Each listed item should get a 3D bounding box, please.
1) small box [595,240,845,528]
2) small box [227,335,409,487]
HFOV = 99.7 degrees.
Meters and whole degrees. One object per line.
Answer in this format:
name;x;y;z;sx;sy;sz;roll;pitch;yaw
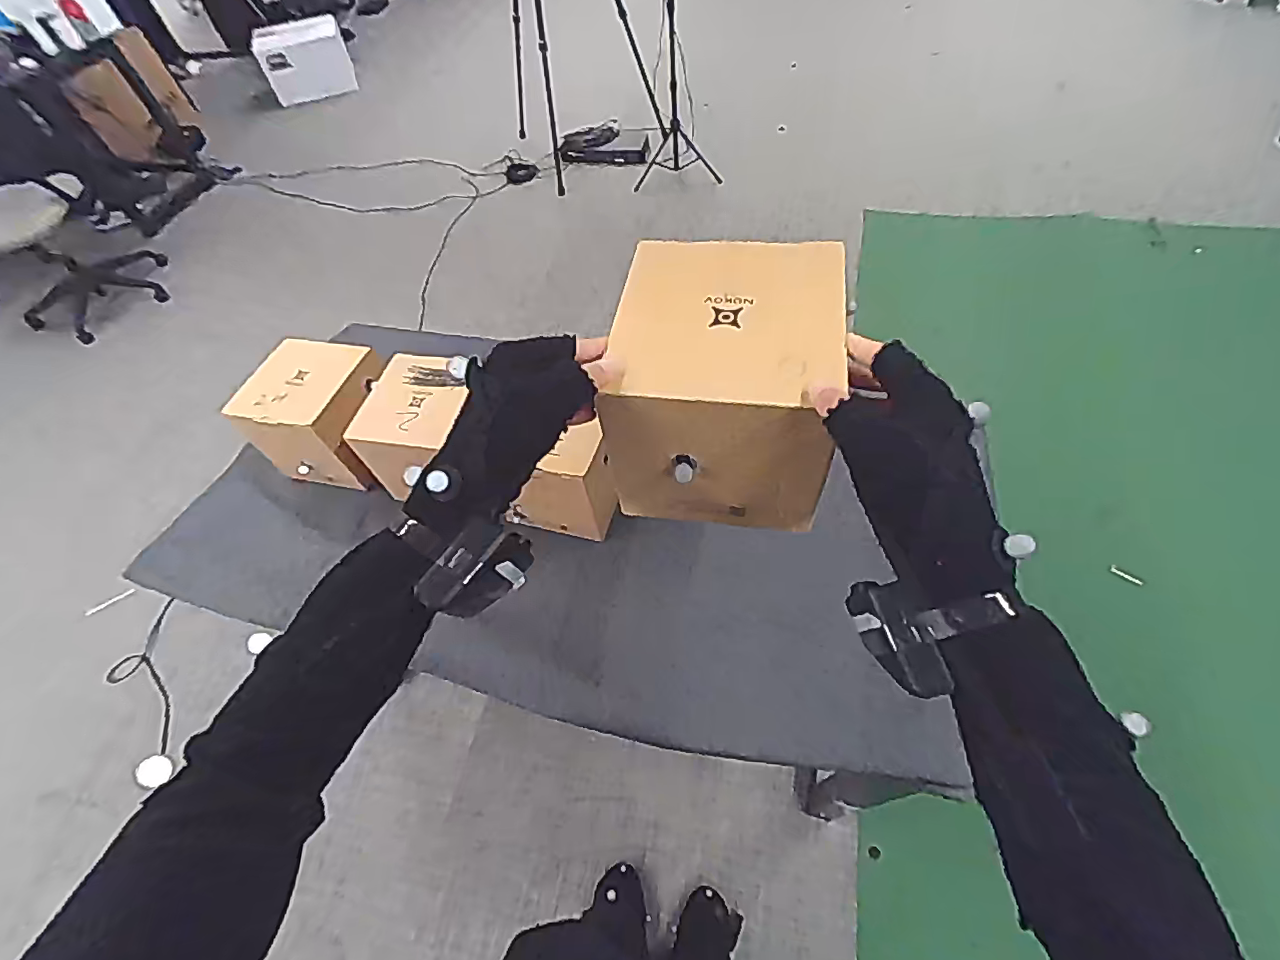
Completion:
small box;0.074;-0.076;0.457;0.168;0.176;0.179;5;57;11
small box;-0.520;-0.114;0.909;0.168;0.176;0.179;9;57;12
